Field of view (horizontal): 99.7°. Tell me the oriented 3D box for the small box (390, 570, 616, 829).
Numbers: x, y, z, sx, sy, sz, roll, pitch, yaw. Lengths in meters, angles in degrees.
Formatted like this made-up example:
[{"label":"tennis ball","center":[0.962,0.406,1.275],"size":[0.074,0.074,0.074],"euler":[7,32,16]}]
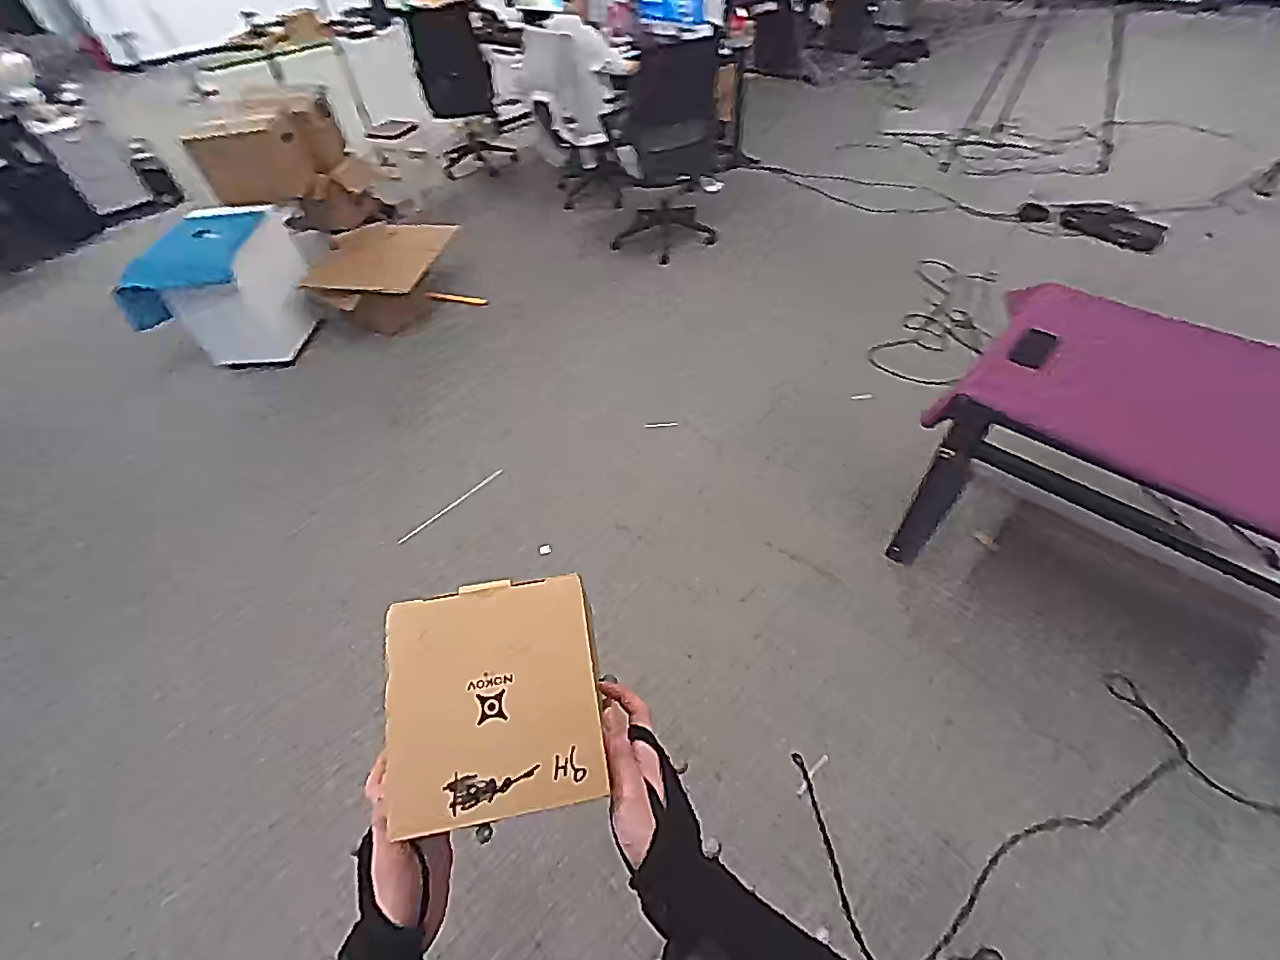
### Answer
[{"label":"small box","center":[-0.115,0.201,0.506],"size":[0.168,0.176,0.179],"euler":[-9,66,-4]}]
